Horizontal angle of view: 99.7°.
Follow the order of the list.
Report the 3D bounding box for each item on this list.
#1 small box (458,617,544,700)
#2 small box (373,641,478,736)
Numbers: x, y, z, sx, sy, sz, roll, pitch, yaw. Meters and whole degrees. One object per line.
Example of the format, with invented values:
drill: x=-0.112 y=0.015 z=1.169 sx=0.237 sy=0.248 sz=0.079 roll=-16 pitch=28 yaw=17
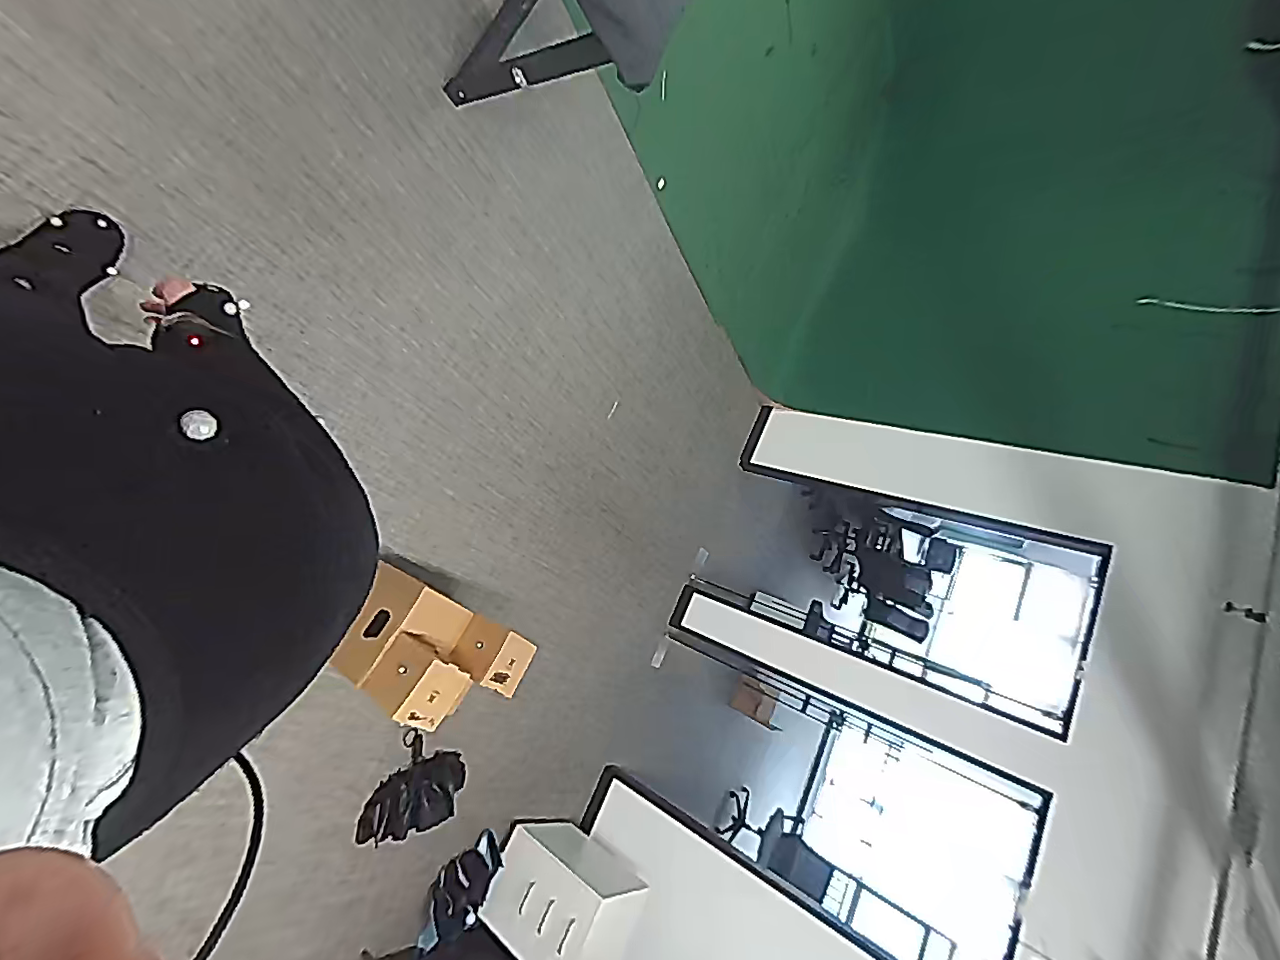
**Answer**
small box: x=-0.446 y=0.563 z=1.712 sx=0.179 sy=0.176 sz=0.168 roll=-64 pitch=145 yaw=-23
small box: x=-0.594 y=0.571 z=1.495 sx=0.179 sy=0.176 sz=0.168 roll=-60 pitch=144 yaw=-21
